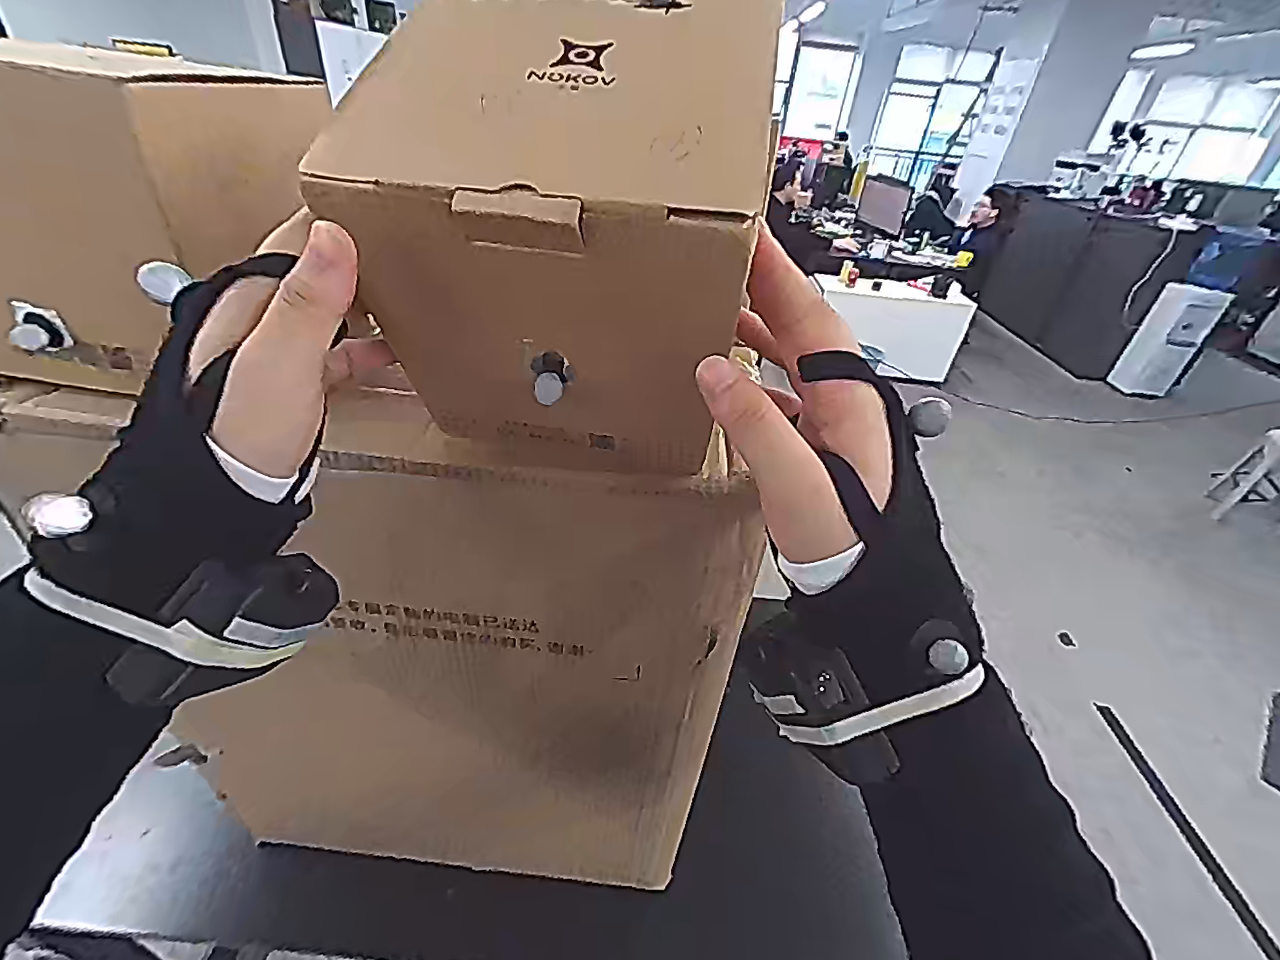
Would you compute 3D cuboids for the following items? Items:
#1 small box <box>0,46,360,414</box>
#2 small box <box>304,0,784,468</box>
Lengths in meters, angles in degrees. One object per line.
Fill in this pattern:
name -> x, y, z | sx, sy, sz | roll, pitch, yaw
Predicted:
small box -> -0.307, -0.163, 0.351 | 0.168, 0.176, 0.179 | 6, 36, -1
small box -> -0.026, -0.125, 0.294 | 0.168, 0.176, 0.179 | 9, 62, 4
